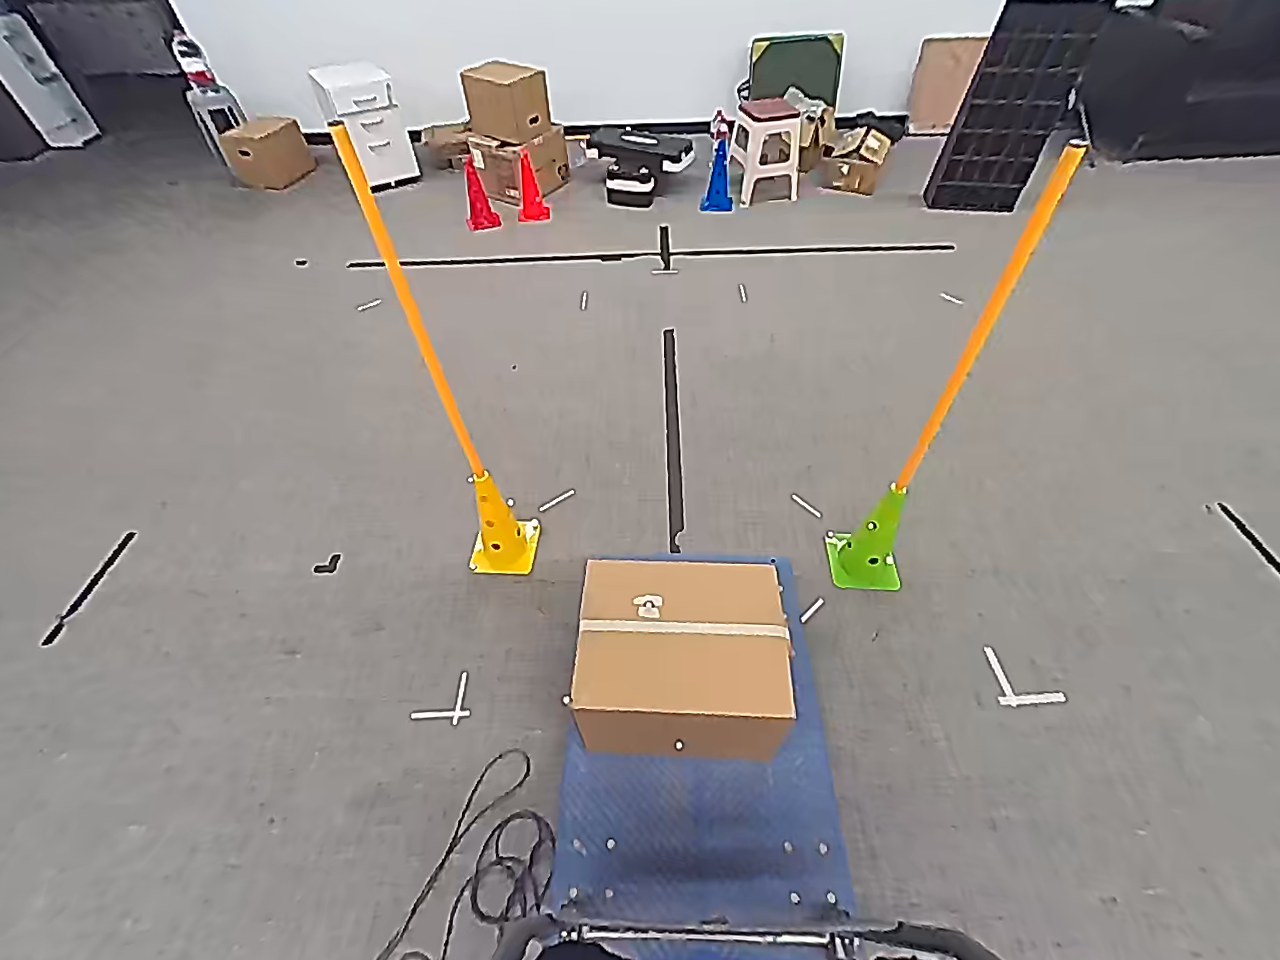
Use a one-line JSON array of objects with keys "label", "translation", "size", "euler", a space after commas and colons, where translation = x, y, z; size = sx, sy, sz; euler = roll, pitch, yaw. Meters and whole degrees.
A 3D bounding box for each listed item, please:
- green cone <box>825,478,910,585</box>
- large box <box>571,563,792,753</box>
[{"label": "green cone", "translation": [0.693, 0.129, 1.570], "size": [0.202, 0.368, 0.200], "euler": [3, 50, 3]}, {"label": "large box", "translation": [0.085, 0.391, 1.176], "size": [0.408, 0.320, 0.320], "euler": [1, 50, 4]}]
